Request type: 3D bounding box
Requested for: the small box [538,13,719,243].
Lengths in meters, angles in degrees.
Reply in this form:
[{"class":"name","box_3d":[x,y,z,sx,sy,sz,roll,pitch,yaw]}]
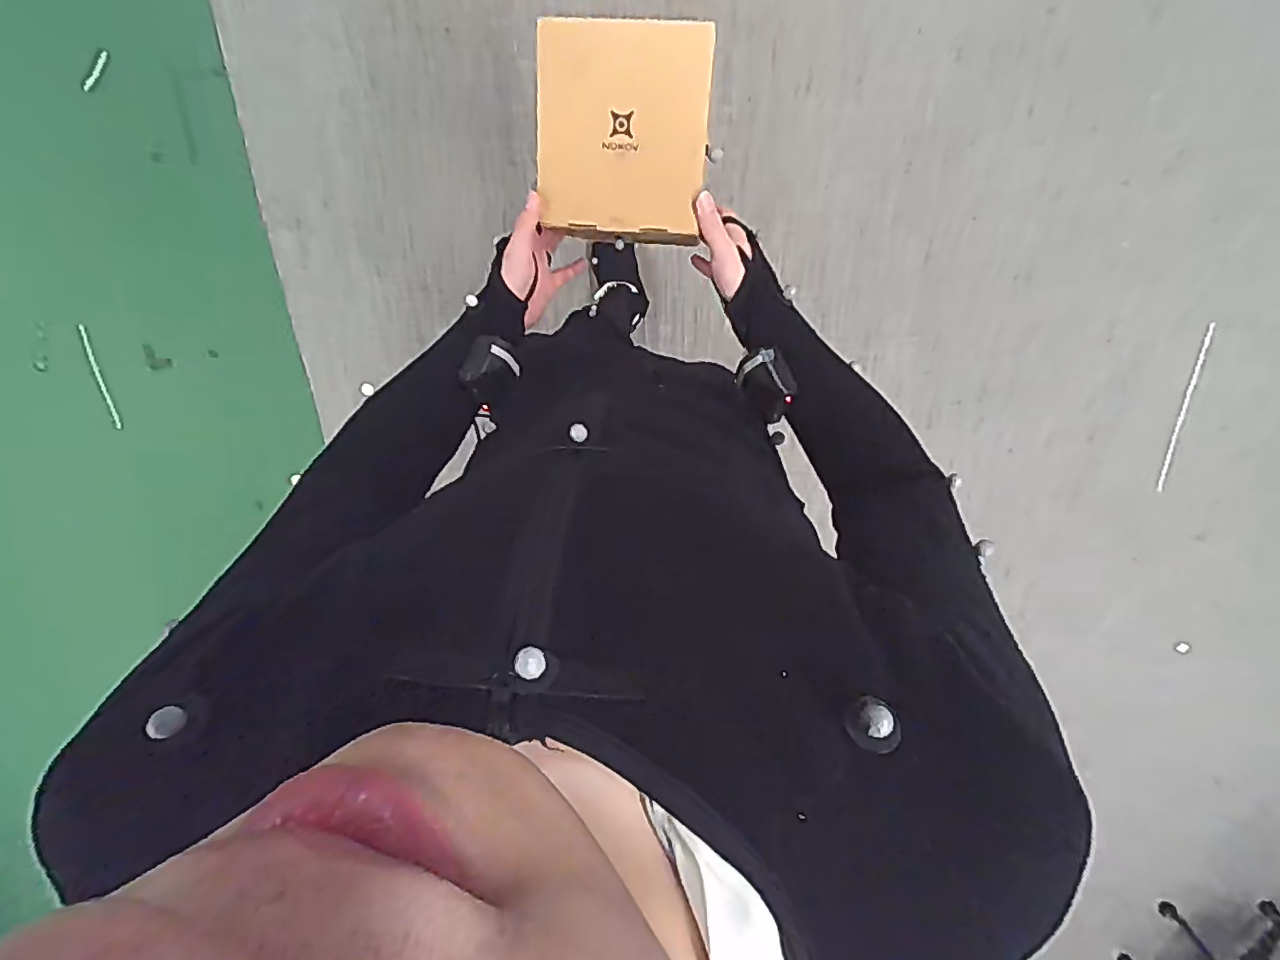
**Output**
[{"class":"small box","box_3d":[-0.010,-0.365,0.593,0.168,0.176,0.179,6,112,3]}]
